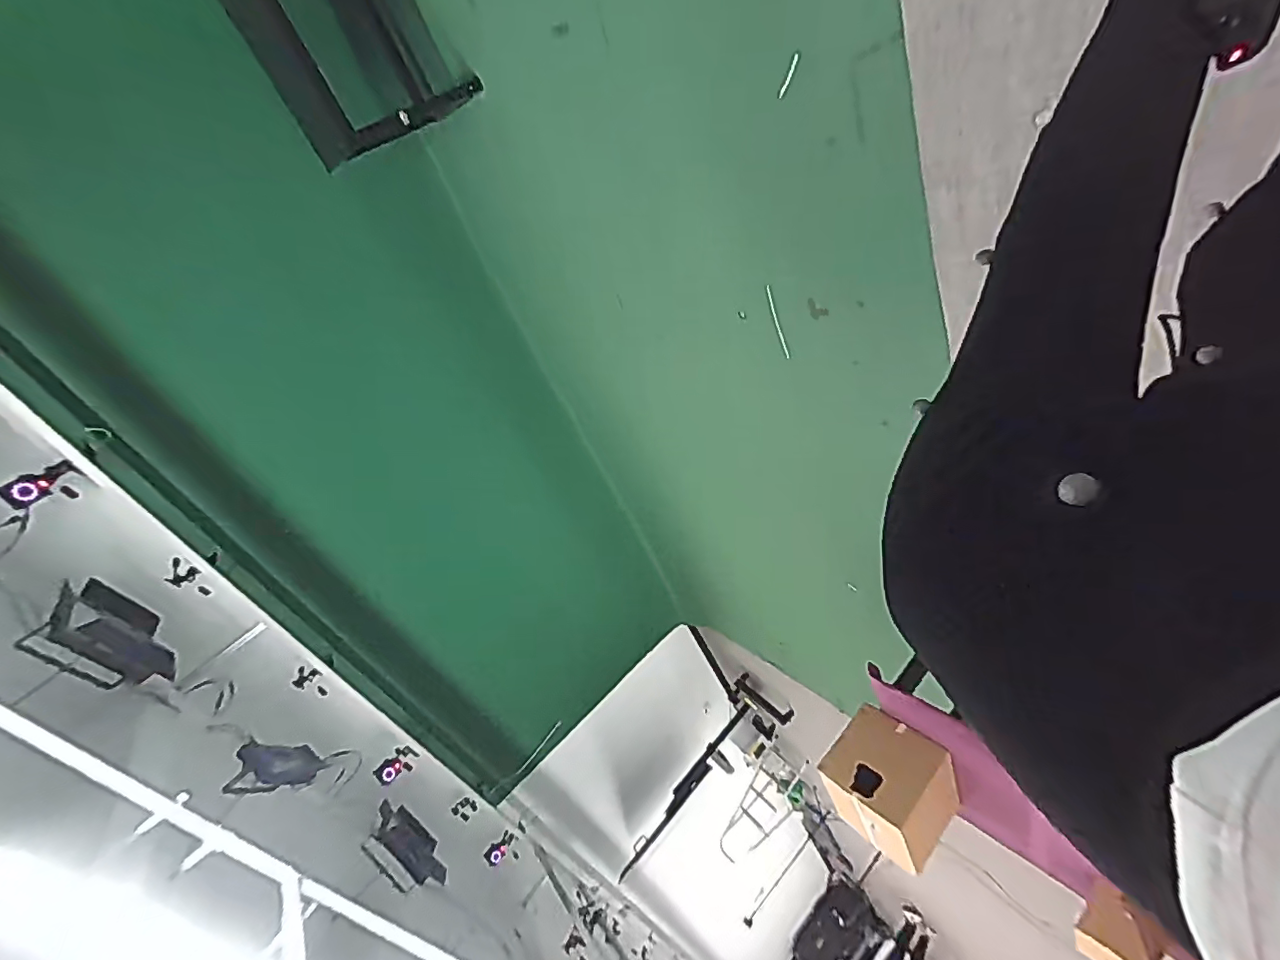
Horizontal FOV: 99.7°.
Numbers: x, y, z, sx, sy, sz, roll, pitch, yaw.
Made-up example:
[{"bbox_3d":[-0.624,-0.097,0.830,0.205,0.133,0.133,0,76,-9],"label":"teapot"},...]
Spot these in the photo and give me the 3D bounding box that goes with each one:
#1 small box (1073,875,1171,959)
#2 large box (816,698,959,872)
[{"bbox_3d":[1.360,1.277,1.529,0.168,0.176,0.179,20,144,51],"label":"small box"},{"bbox_3d":[0.891,1.075,1.930,0.320,0.320,0.408,19,143,51],"label":"large box"}]
